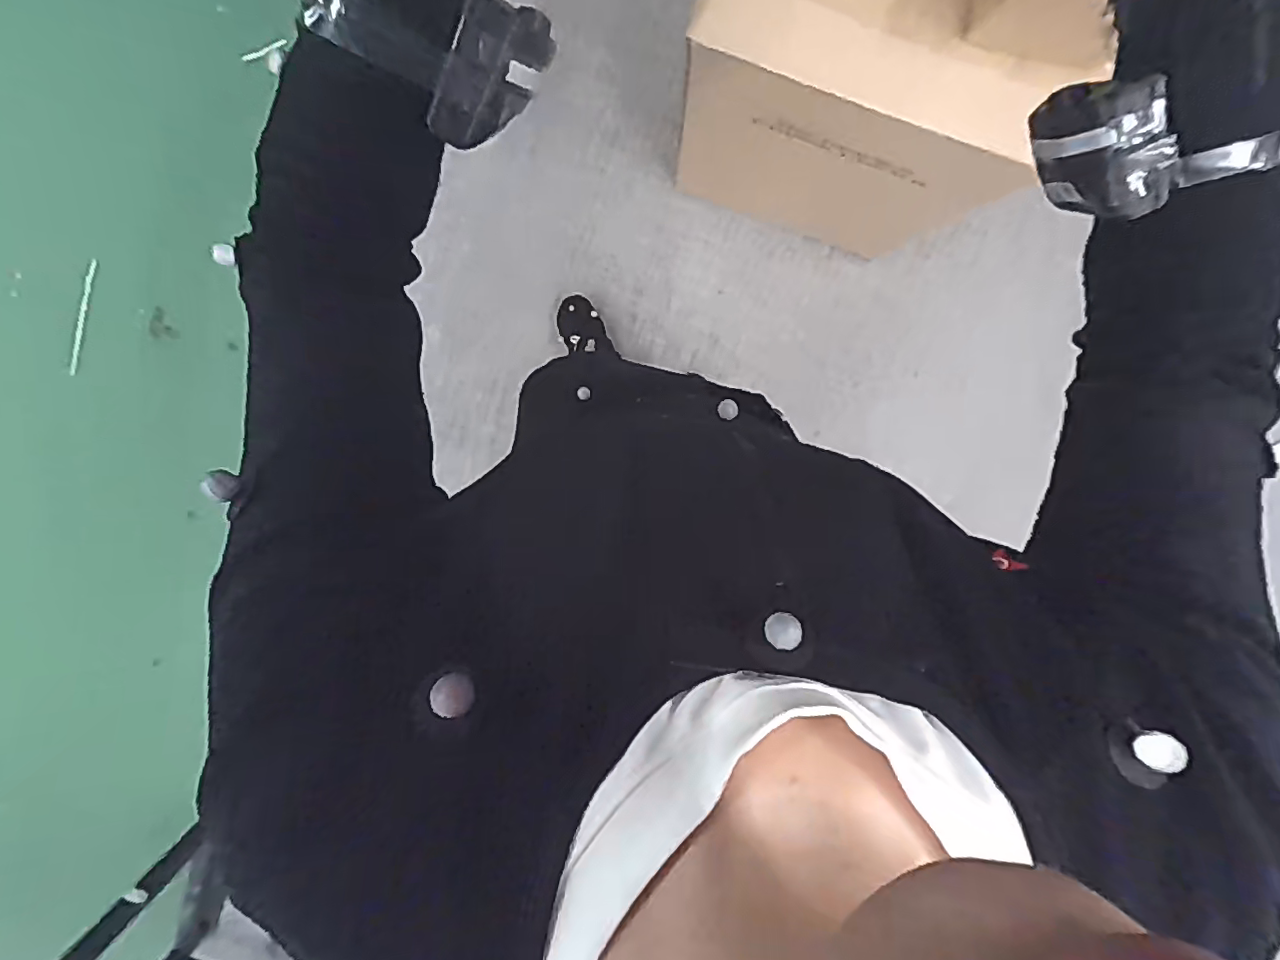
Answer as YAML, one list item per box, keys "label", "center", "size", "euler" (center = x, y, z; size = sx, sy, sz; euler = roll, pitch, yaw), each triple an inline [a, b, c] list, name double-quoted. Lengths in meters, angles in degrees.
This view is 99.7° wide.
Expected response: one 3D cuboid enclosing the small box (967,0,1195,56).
- label: "small box"
  center: [0.503, -0.599, 0.583]
  size: [0.179, 0.176, 0.168]
  euler: [12, 106, 1]
